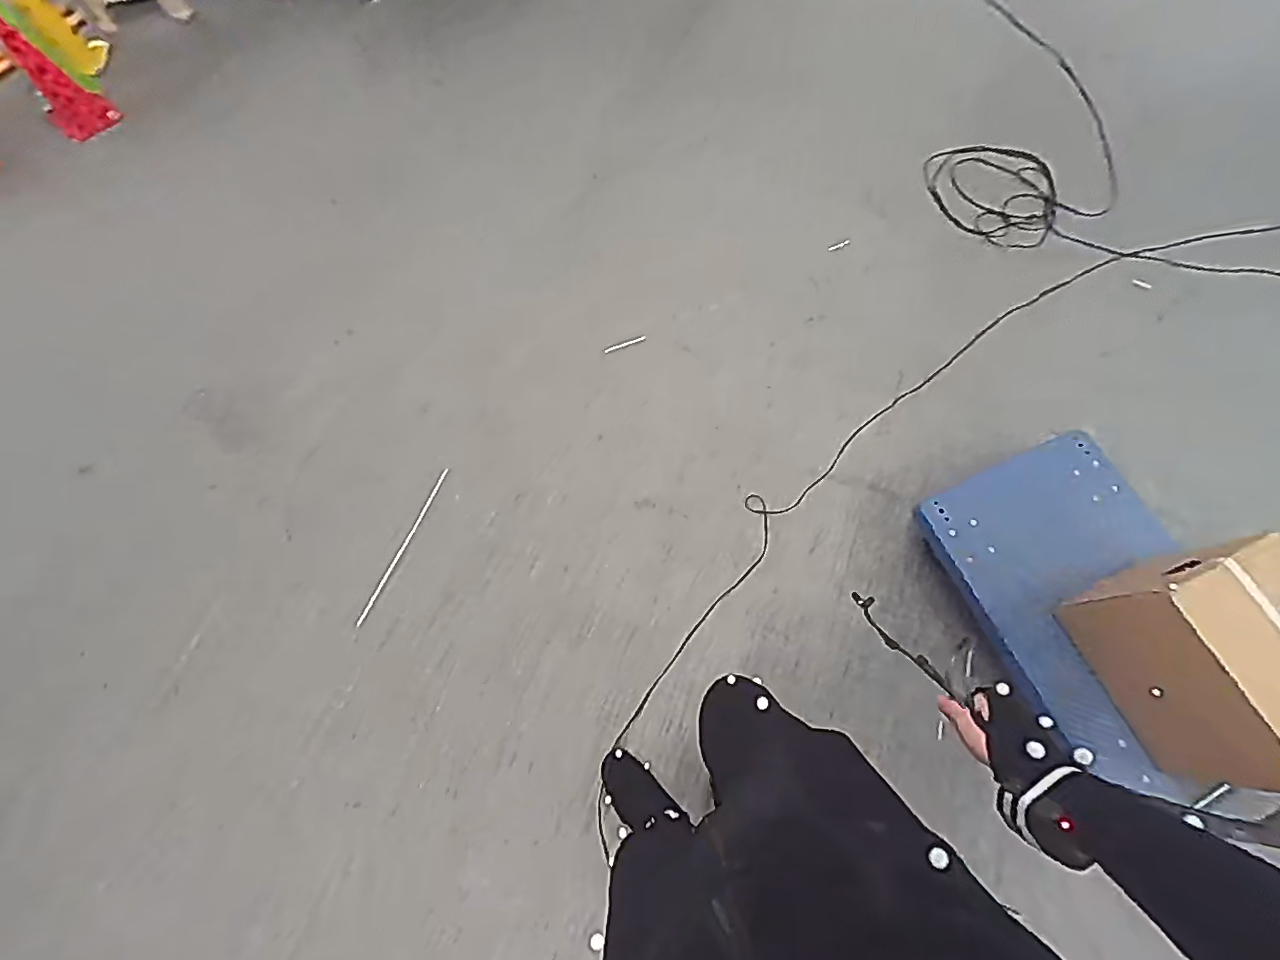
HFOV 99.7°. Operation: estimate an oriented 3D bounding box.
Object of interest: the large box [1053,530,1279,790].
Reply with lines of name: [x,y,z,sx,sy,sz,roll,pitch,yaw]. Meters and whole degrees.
large box: [1.238,0.378,1.161,0.320,0.320,0.408,-22,71,-10]
